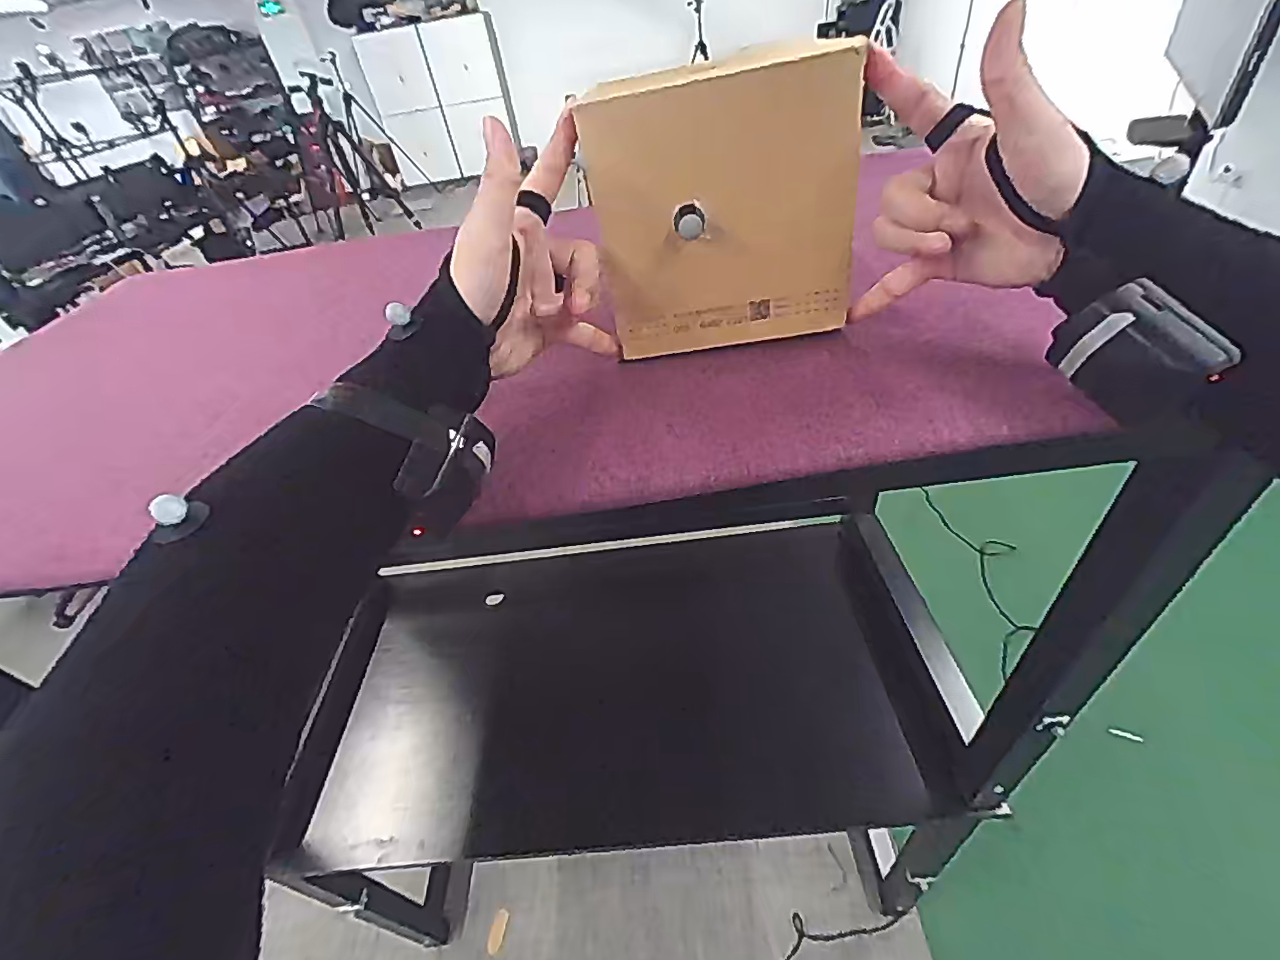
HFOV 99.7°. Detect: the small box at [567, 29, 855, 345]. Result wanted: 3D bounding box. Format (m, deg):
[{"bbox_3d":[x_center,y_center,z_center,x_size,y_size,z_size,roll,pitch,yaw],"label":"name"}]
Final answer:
[{"bbox_3d":[0.055,-0.213,0.410,0.168,0.176,0.179,-7,38,8],"label":"small box"}]
